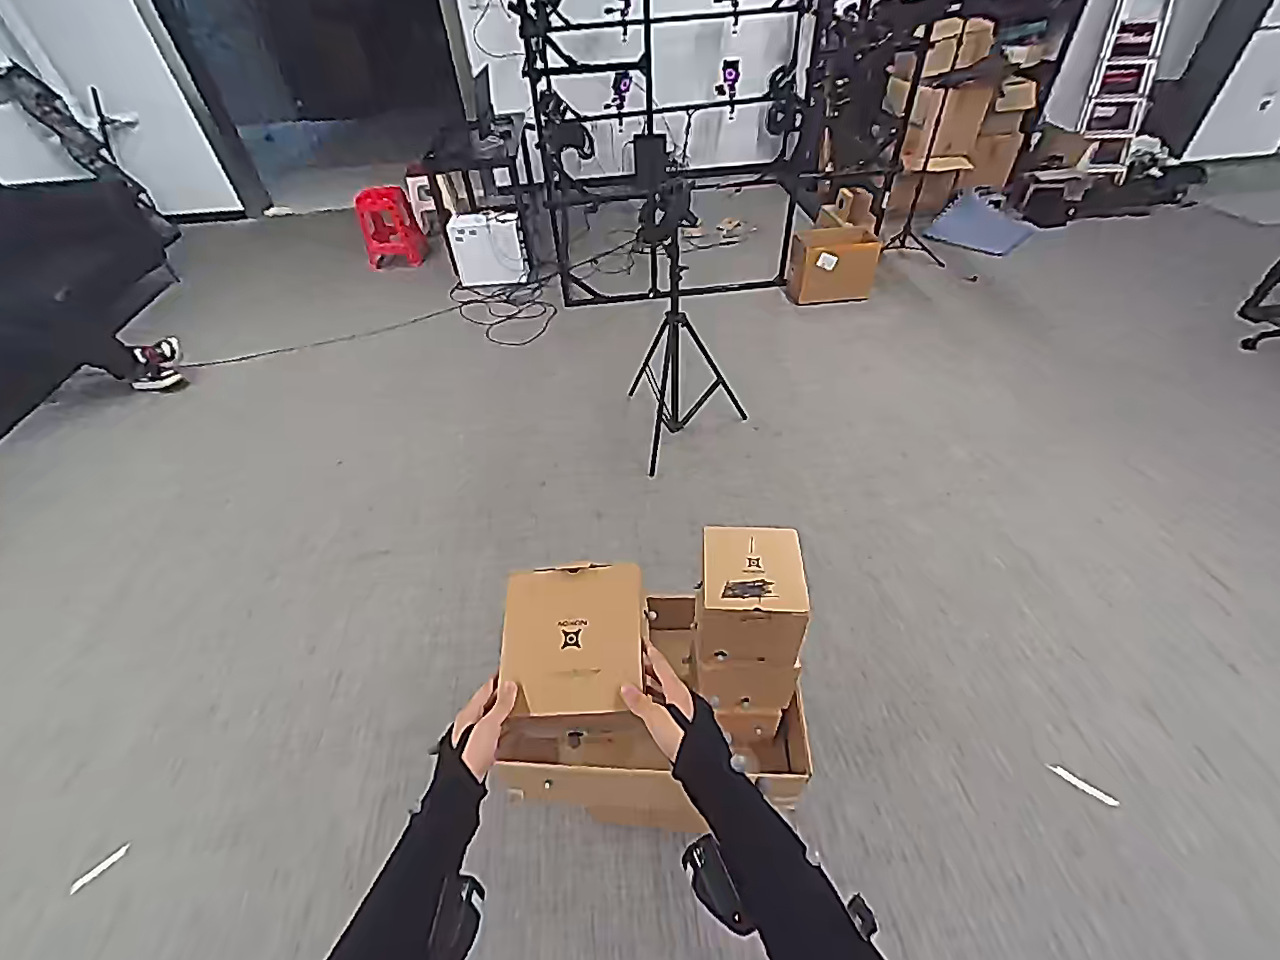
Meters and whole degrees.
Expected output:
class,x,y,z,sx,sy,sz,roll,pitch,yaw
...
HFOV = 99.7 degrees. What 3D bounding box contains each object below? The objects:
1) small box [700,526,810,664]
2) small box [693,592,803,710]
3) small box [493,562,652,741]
class,x,y,z,sx,sy,sz,roll,pitch,yaw
small box,0.191,0.201,0.943,0.168,0.176,0.179,2,44,5
small box,0.198,0.331,1.047,0.179,0.176,0.168,-1,44,2
small box,-0.073,0.222,0.689,0.168,0.176,0.179,-4,57,3
